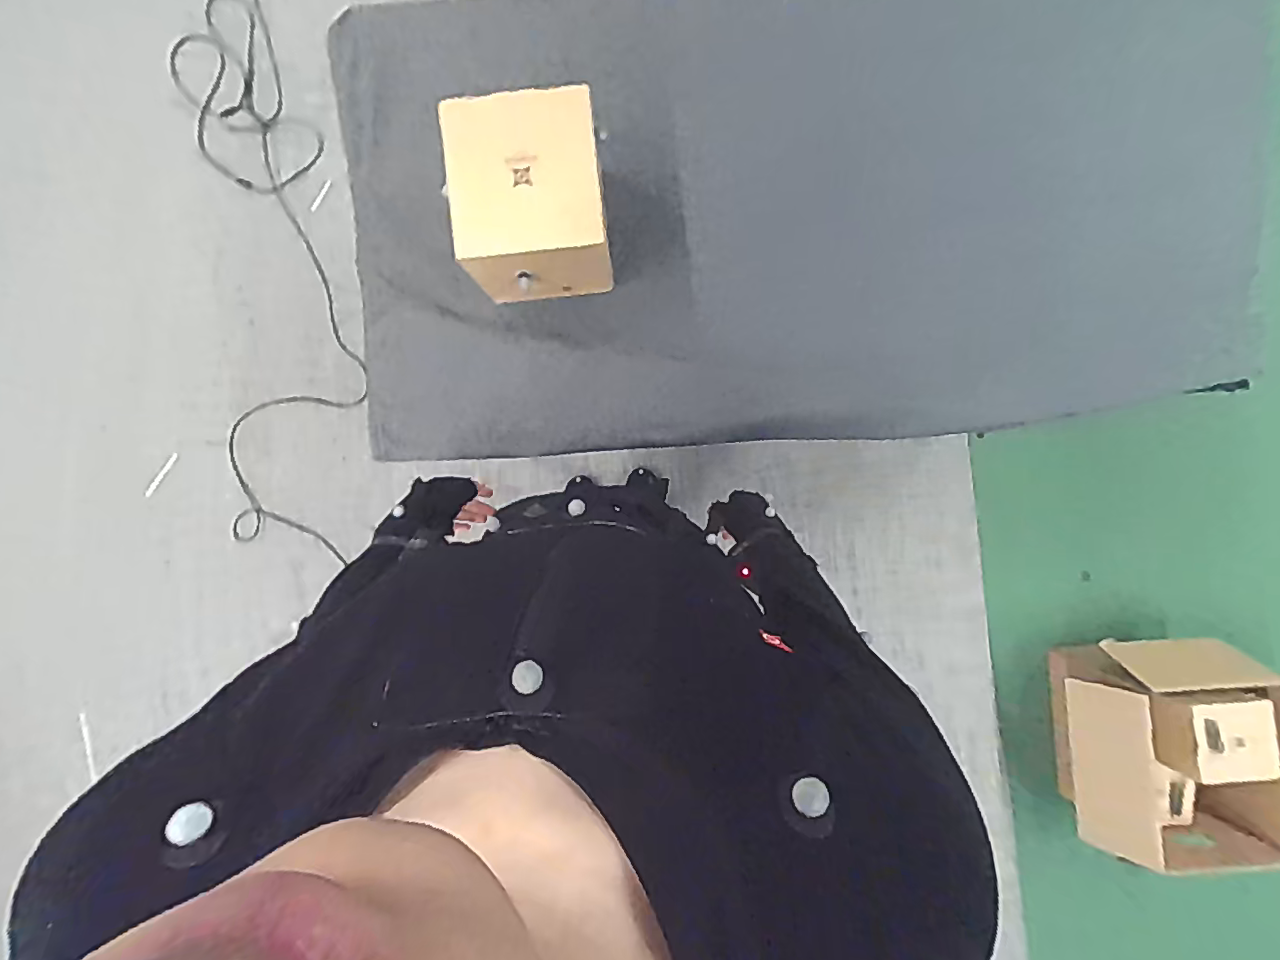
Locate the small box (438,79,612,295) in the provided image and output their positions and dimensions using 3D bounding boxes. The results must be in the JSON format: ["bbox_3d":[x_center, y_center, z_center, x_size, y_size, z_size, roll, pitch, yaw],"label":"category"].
[{"bbox_3d":[-0.127,-0.339,0.663,0.168,0.176,0.179,-7,91,1],"label":"small box"}]
